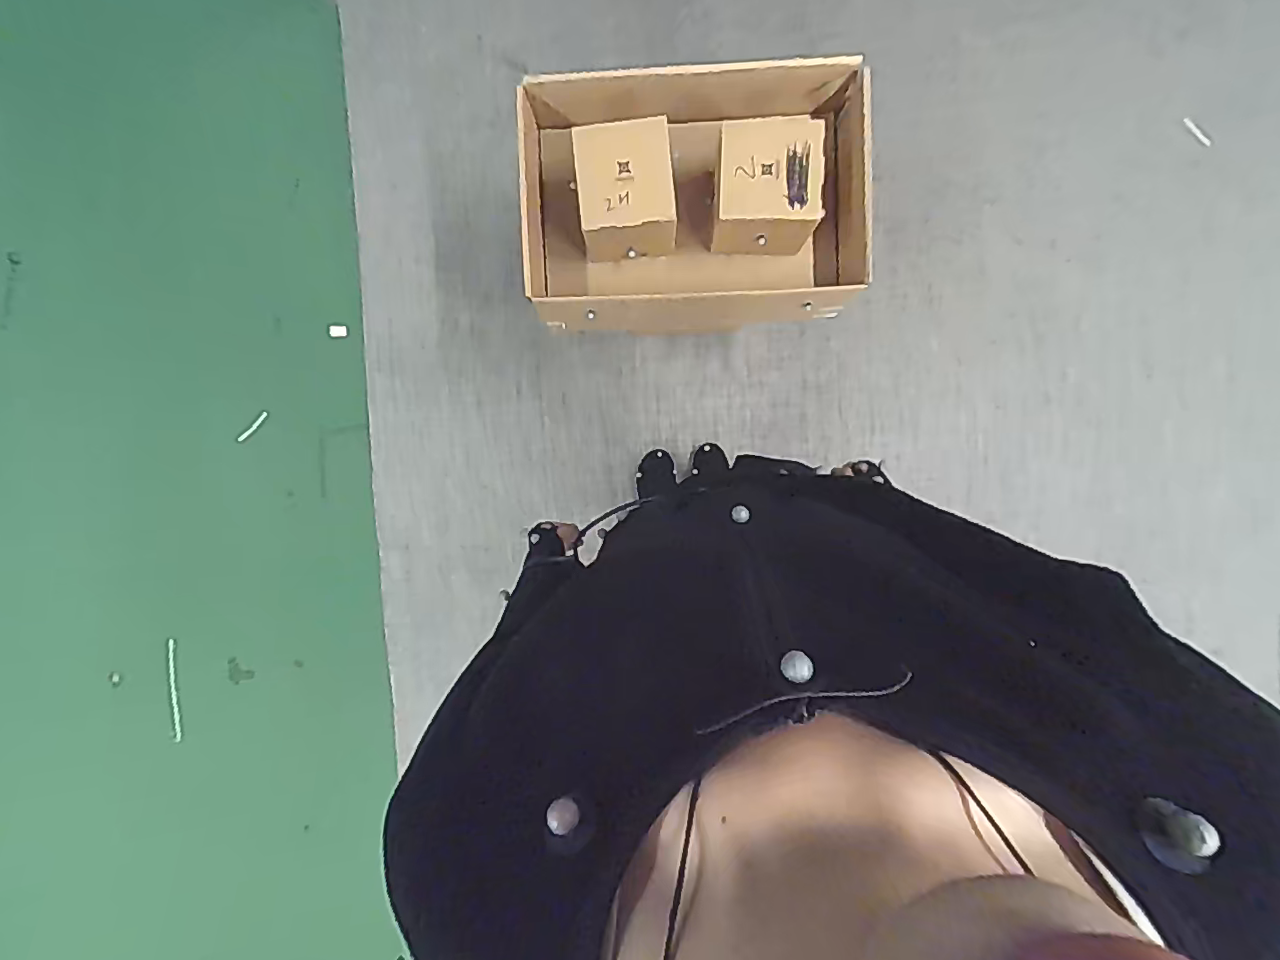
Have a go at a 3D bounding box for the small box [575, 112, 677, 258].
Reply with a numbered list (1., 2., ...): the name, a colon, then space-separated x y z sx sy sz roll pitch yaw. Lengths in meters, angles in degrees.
1. small box: -0.023 -0.531 0.994 0.168 0.176 0.179 -5 93 2
